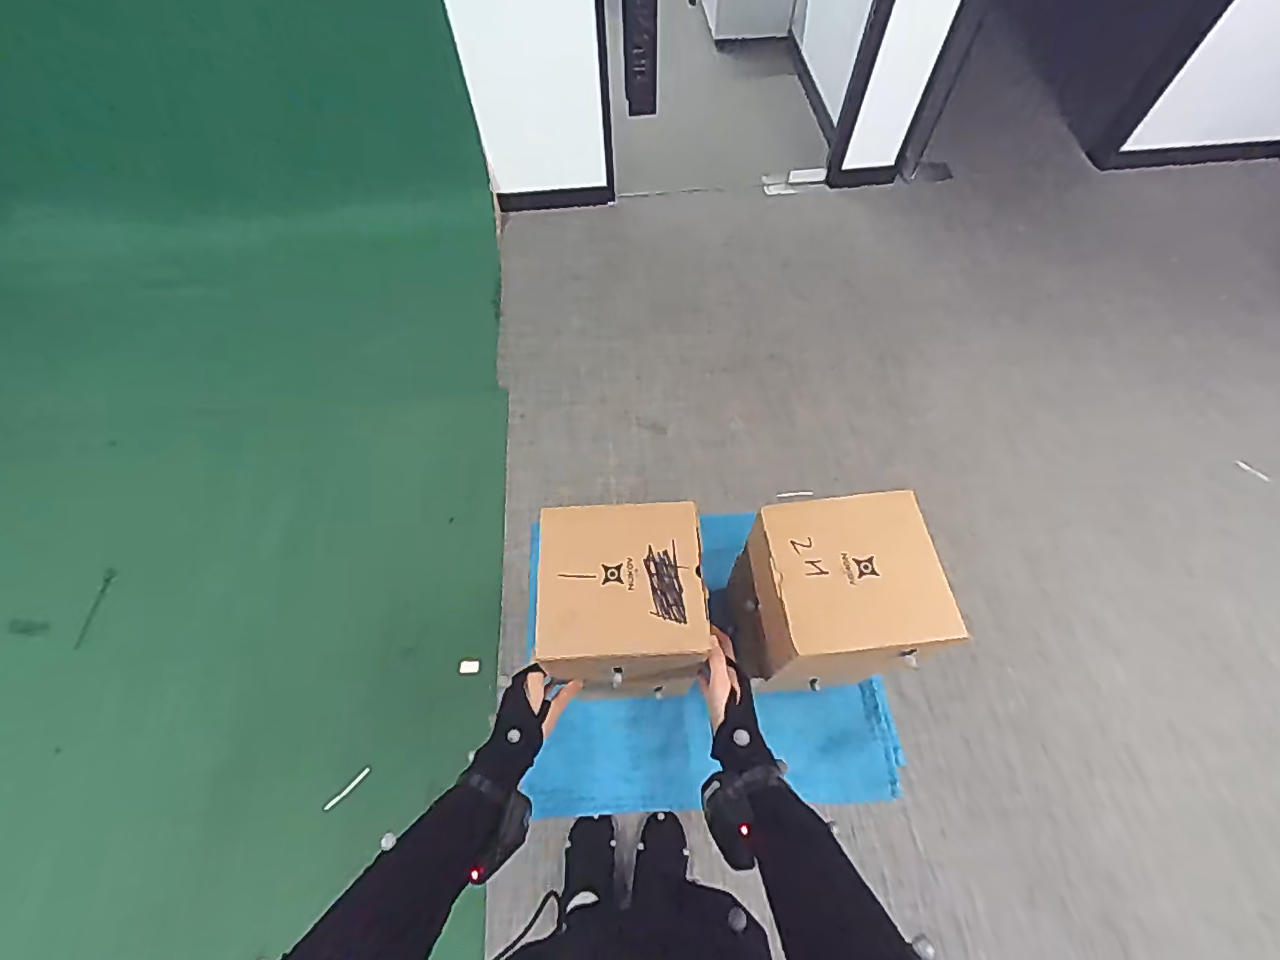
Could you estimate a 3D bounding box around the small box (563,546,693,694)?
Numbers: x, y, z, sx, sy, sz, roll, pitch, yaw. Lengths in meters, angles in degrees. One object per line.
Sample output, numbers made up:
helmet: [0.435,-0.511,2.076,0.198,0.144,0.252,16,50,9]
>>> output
small box: [-0.016,0.207,0.776,0.168,0.176,0.179,-1,61,-2]

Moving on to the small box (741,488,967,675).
small box: [0.227,0.124,0.628,0.179,0.176,0.168,-5,61,-1]
